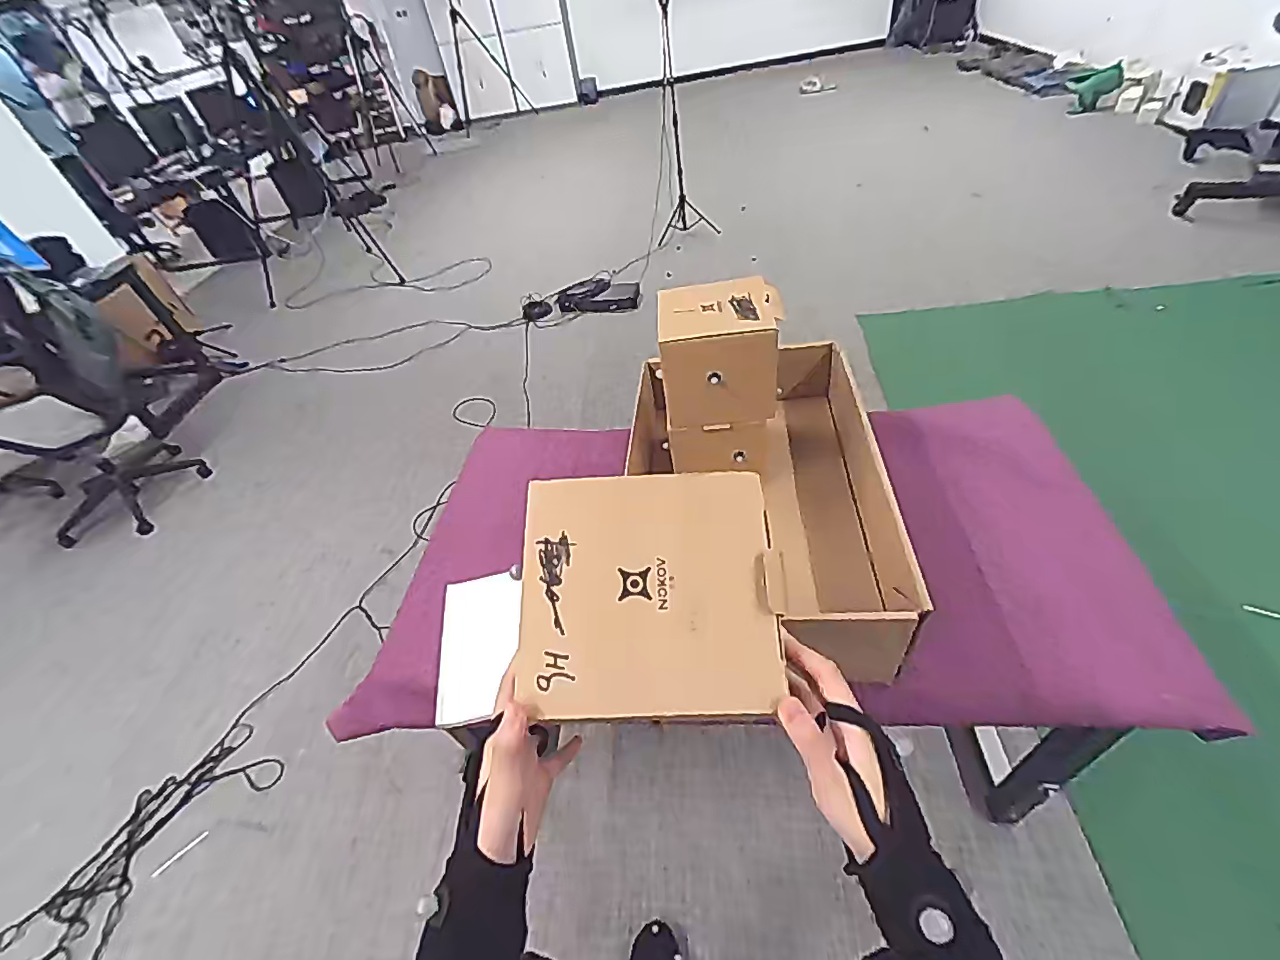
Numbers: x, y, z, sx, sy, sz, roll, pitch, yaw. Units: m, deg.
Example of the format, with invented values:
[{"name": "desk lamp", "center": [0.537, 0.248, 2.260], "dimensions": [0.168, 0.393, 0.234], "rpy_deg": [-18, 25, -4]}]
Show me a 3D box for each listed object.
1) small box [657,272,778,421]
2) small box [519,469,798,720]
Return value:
[{"name": "small box", "center": [0.124, -0.215, 0.887], "dimensions": [0.179, 0.176, 0.168], "rpy_deg": [-5, 45, 7]}, {"name": "small box", "center": [0.011, 0.100, 0.437], "dimensions": [0.179, 0.176, 0.168], "rpy_deg": [-1, 64, 0]}]
